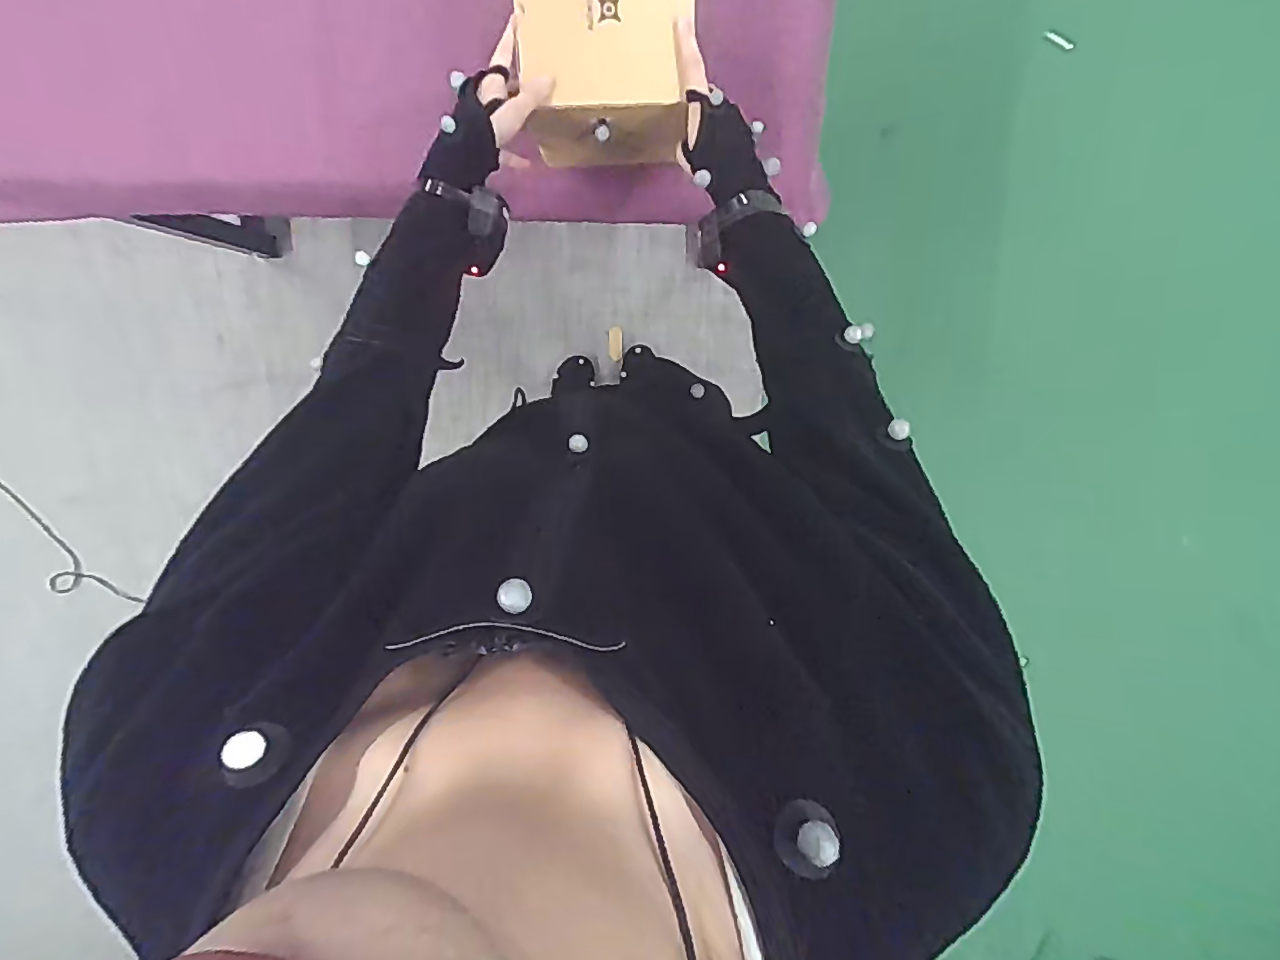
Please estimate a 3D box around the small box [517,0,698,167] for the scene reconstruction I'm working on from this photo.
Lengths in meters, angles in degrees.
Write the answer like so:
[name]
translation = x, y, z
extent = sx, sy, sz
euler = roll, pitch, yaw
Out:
[small box]
translation = -0.031, -0.465, 0.600
extent = 0.179, 0.176, 0.168
euler = -1, 103, 1
